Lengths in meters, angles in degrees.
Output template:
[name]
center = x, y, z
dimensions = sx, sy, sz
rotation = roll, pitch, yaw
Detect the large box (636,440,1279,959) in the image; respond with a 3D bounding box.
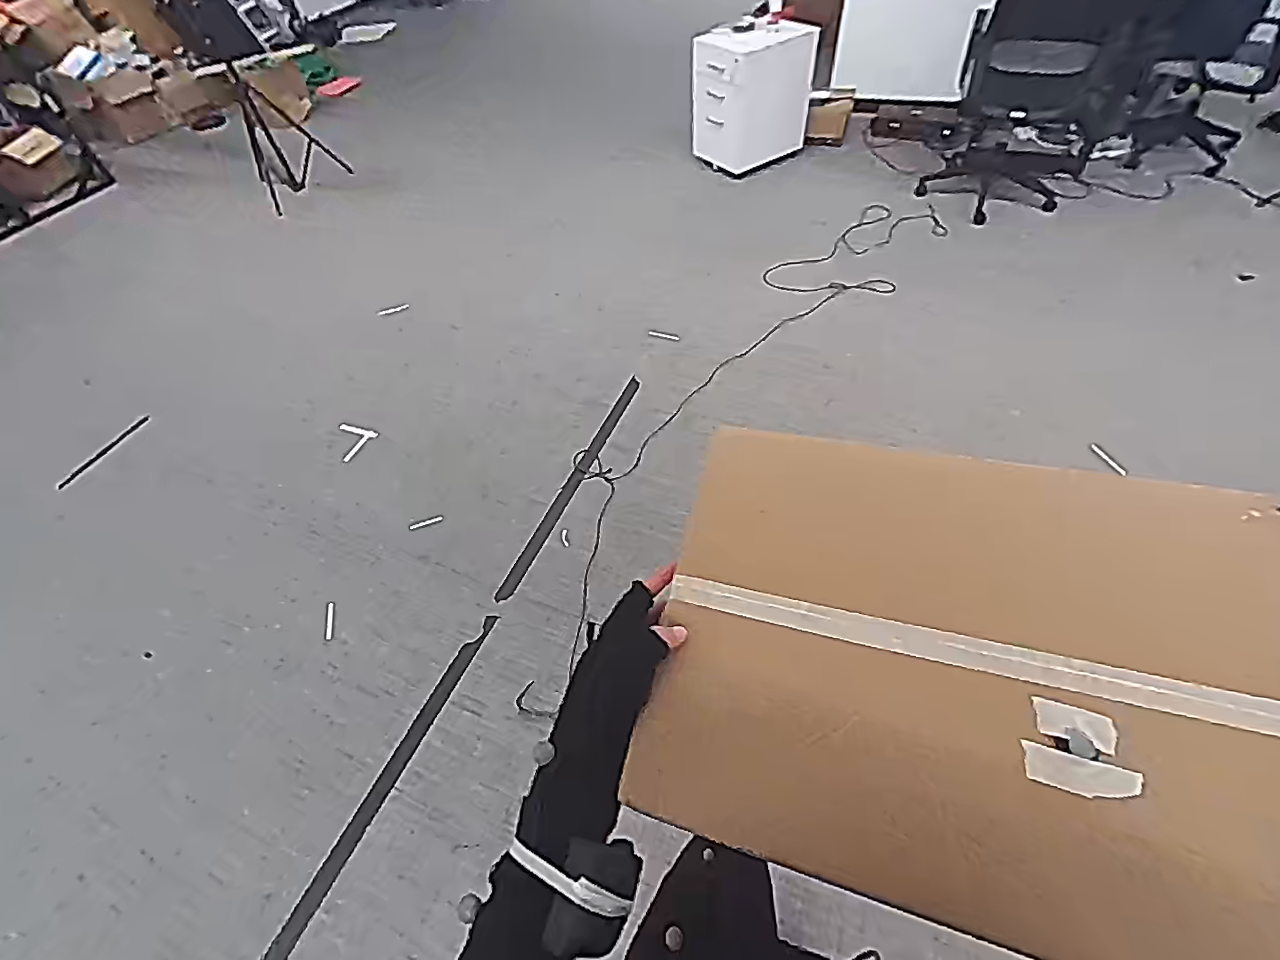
[large box]
center = 0.249, 0.190, 0.515
dimensions = 0.408, 0.320, 0.320
rotation = 9, 65, 18
